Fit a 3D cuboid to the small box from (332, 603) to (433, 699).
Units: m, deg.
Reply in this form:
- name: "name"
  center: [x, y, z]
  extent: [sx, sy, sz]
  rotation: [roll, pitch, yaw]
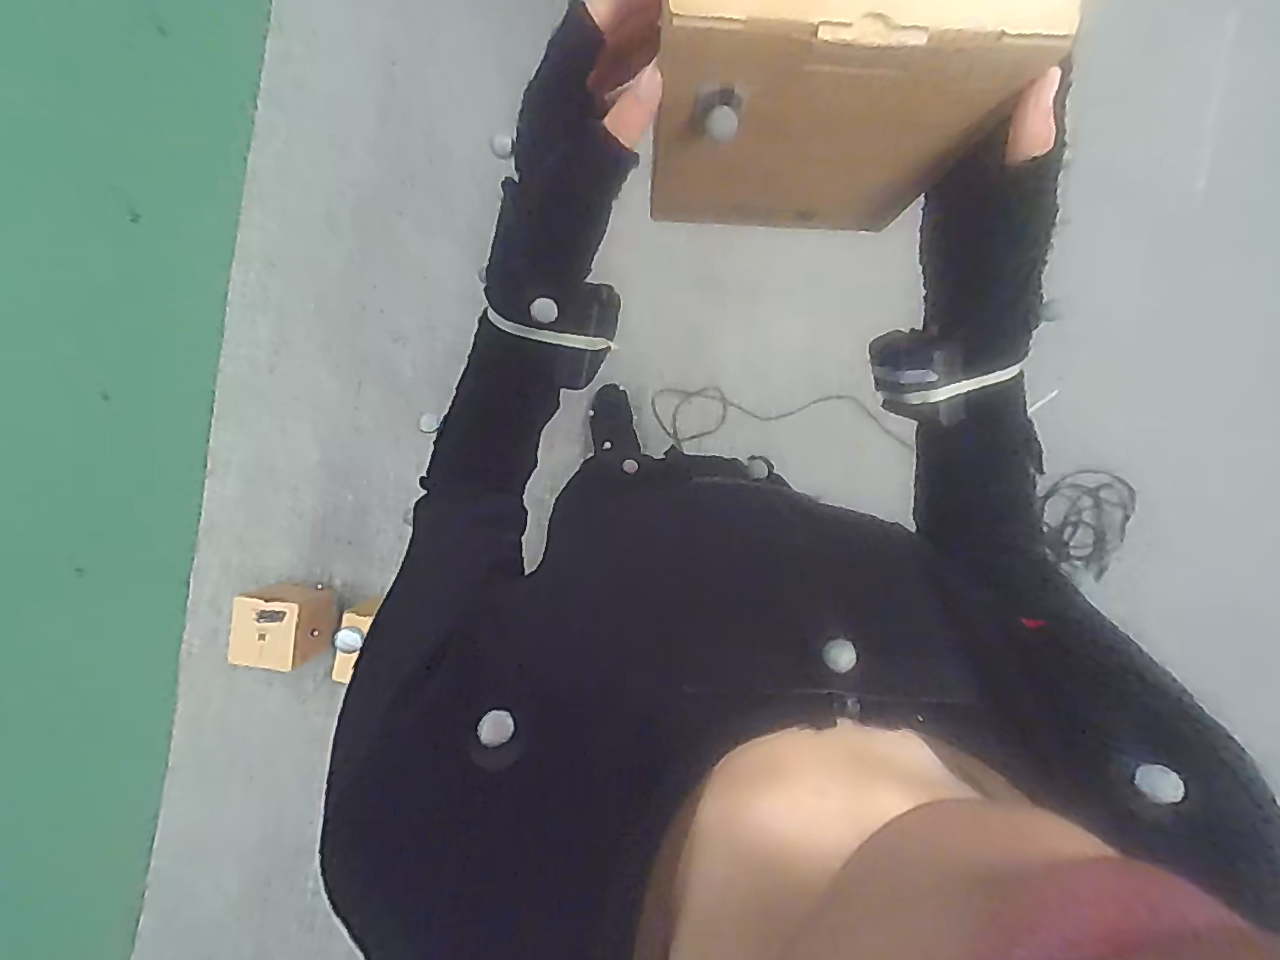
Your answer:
- name: "small box"
  center: [-0.660, 0.438, 1.404]
  extent: [0.168, 0.176, 0.179]
  rotation: [11, 91, 1]

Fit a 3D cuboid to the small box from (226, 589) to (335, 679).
- name: "small box"
  center: [-0.925, 0.392, 1.408]
  extent: [0.168, 0.176, 0.179]
  rotation: [8, 91, 1]
